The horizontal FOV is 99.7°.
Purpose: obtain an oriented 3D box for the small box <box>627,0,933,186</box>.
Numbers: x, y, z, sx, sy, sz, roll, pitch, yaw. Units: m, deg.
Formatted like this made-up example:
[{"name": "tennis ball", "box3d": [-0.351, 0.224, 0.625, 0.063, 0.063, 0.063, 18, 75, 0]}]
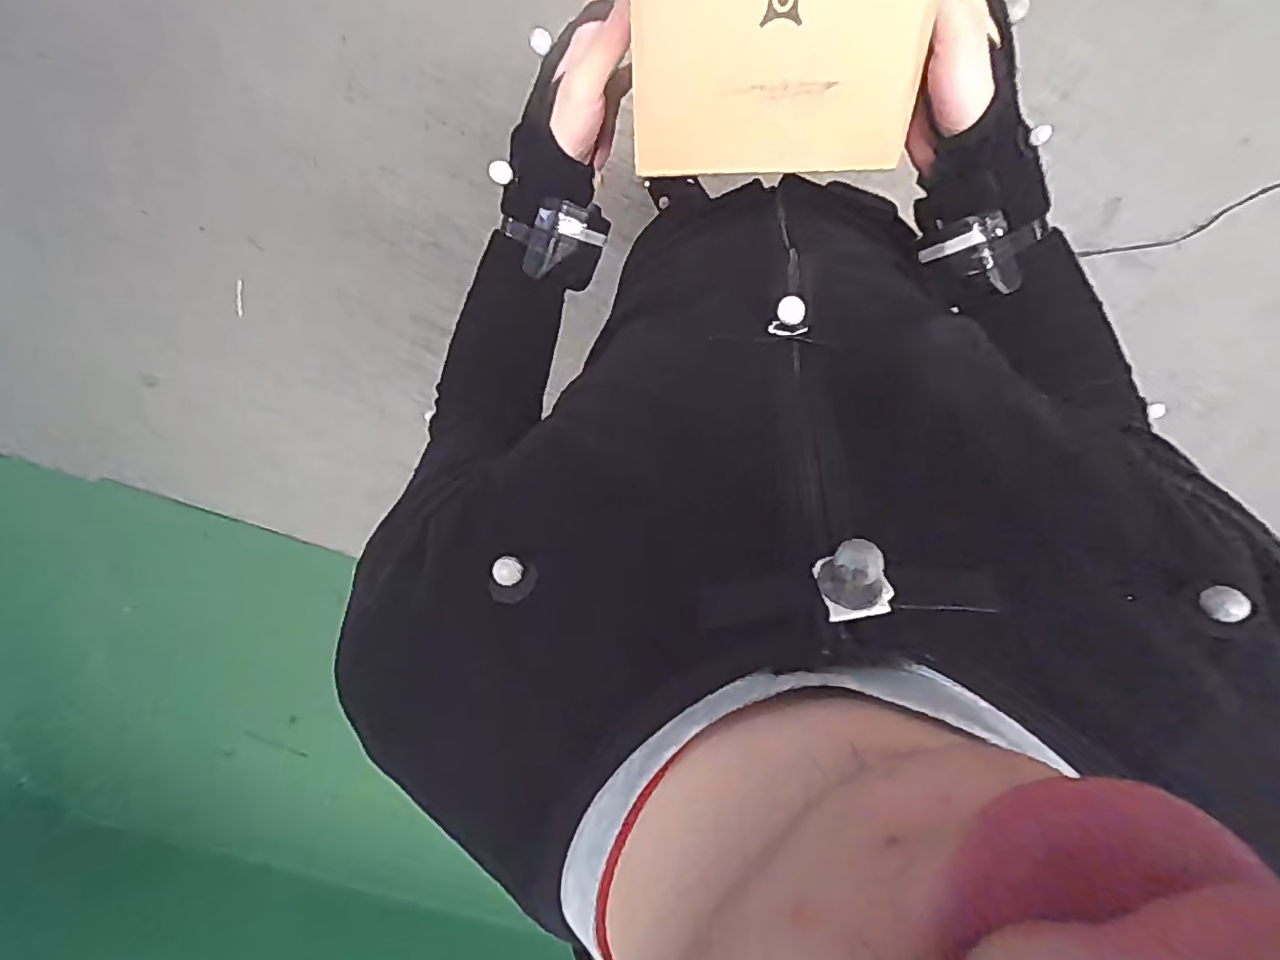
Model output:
[{"name": "small box", "box3d": [0.077, -0.306, 0.350, 0.168, 0.176, 0.179, 2, 132, 3]}]
